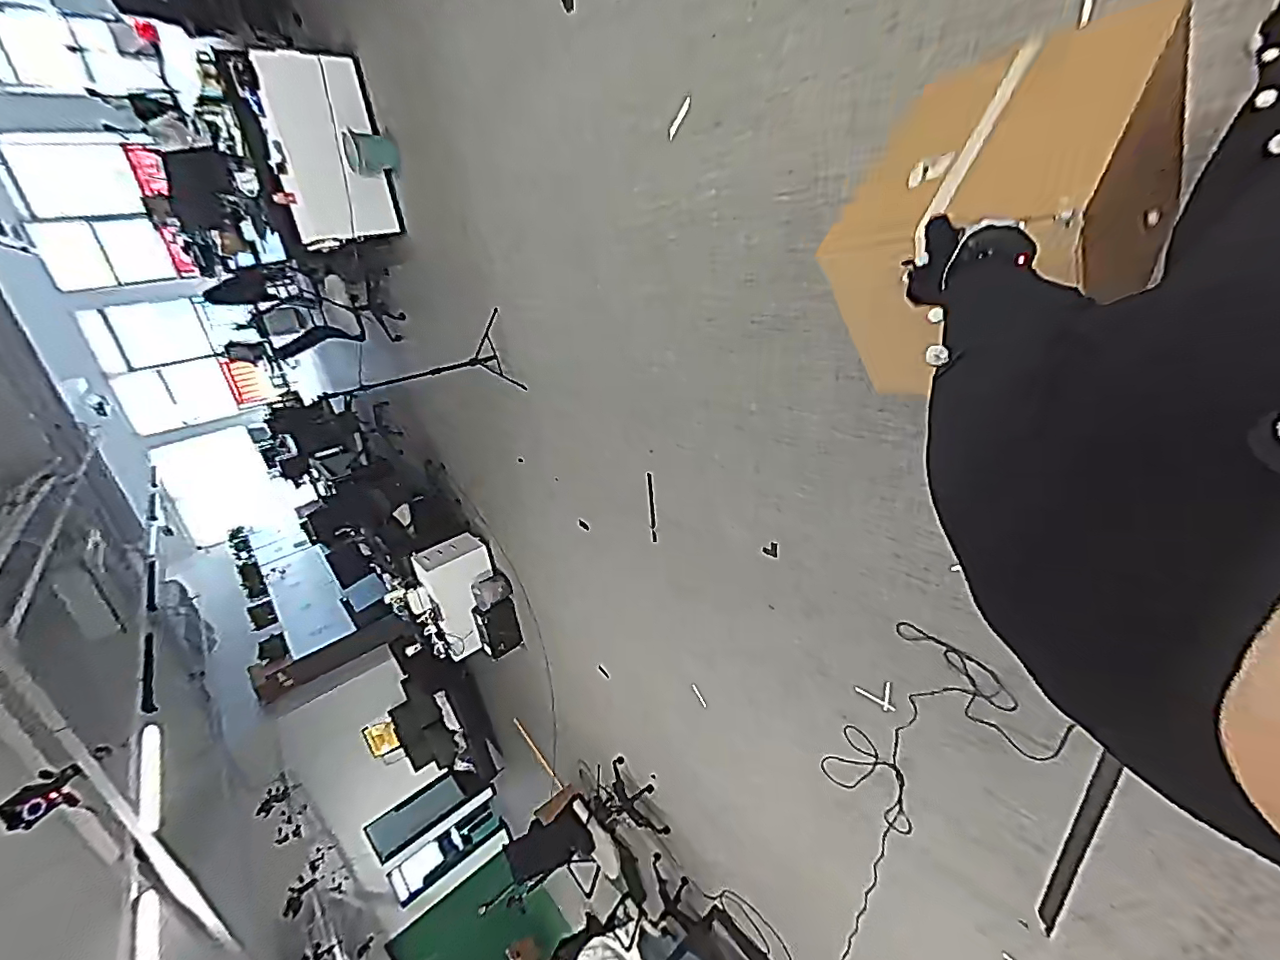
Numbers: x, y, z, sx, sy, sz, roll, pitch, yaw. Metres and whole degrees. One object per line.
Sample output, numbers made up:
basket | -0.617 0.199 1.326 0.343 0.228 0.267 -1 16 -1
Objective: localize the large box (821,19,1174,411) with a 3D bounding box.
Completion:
large box | 0.549 -0.366 0.829 0.320 0.408 0.320 17 157 50
